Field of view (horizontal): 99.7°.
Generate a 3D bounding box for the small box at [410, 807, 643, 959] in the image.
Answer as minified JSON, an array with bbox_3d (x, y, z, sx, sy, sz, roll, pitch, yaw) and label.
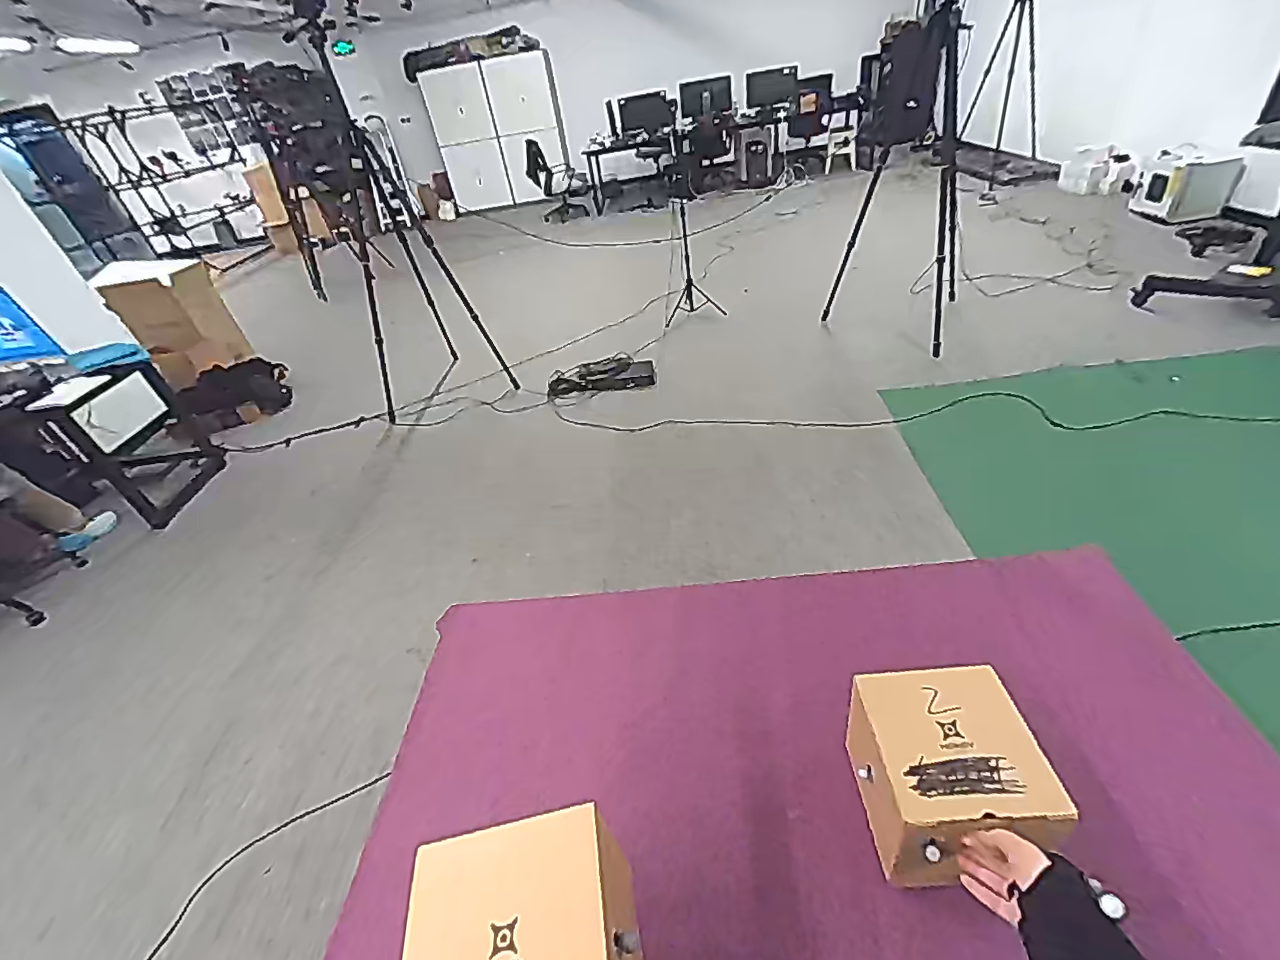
[{"bbox_3d":[-0.091,0.435,0.484,0.168,0.176,0.179,-14,39,-1],"label":"small box"}]
